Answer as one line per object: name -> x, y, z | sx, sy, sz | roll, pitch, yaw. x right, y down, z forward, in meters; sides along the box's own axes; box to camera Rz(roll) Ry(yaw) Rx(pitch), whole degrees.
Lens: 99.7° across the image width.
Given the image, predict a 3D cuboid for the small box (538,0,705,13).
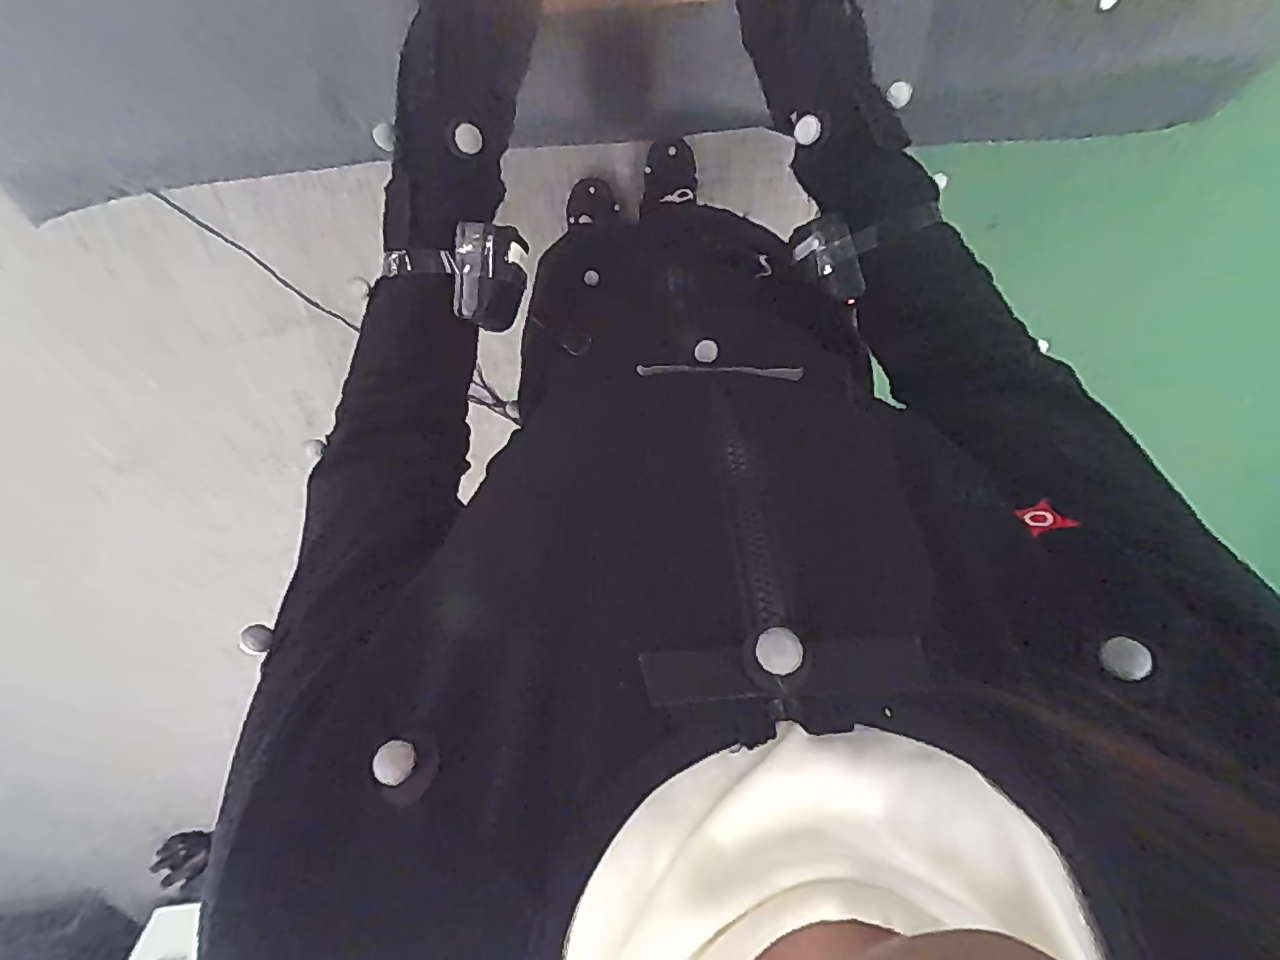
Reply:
small box -> -0.009, -0.429, 0.343 | 0.168, 0.176, 0.179 | -7, 124, -2
